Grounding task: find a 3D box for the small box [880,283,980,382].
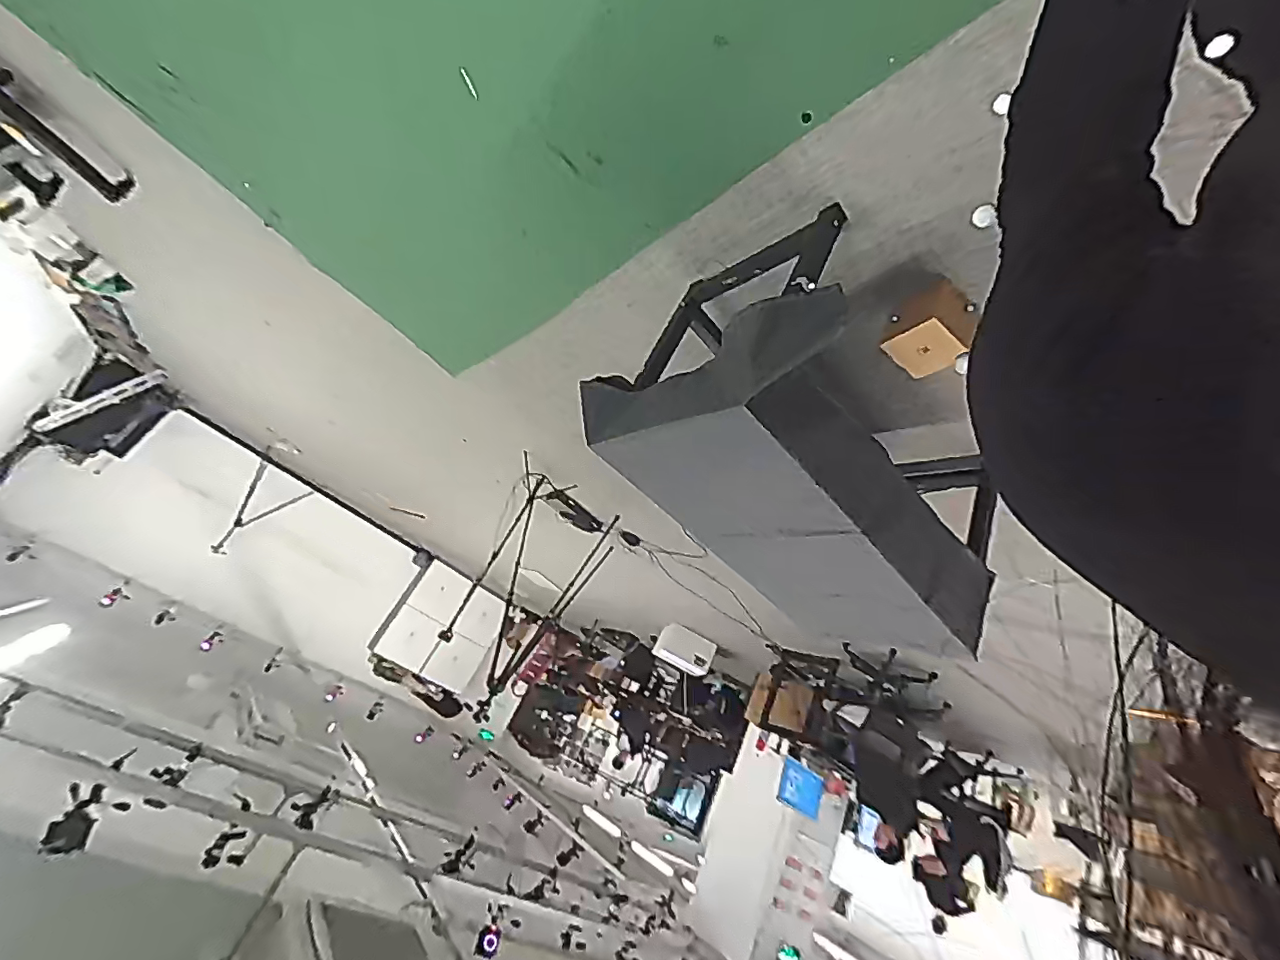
[{"bbox_3d":[0.820,-0.413,1.526,0.168,0.176,0.179,35,155,-16],"label":"small box"}]
